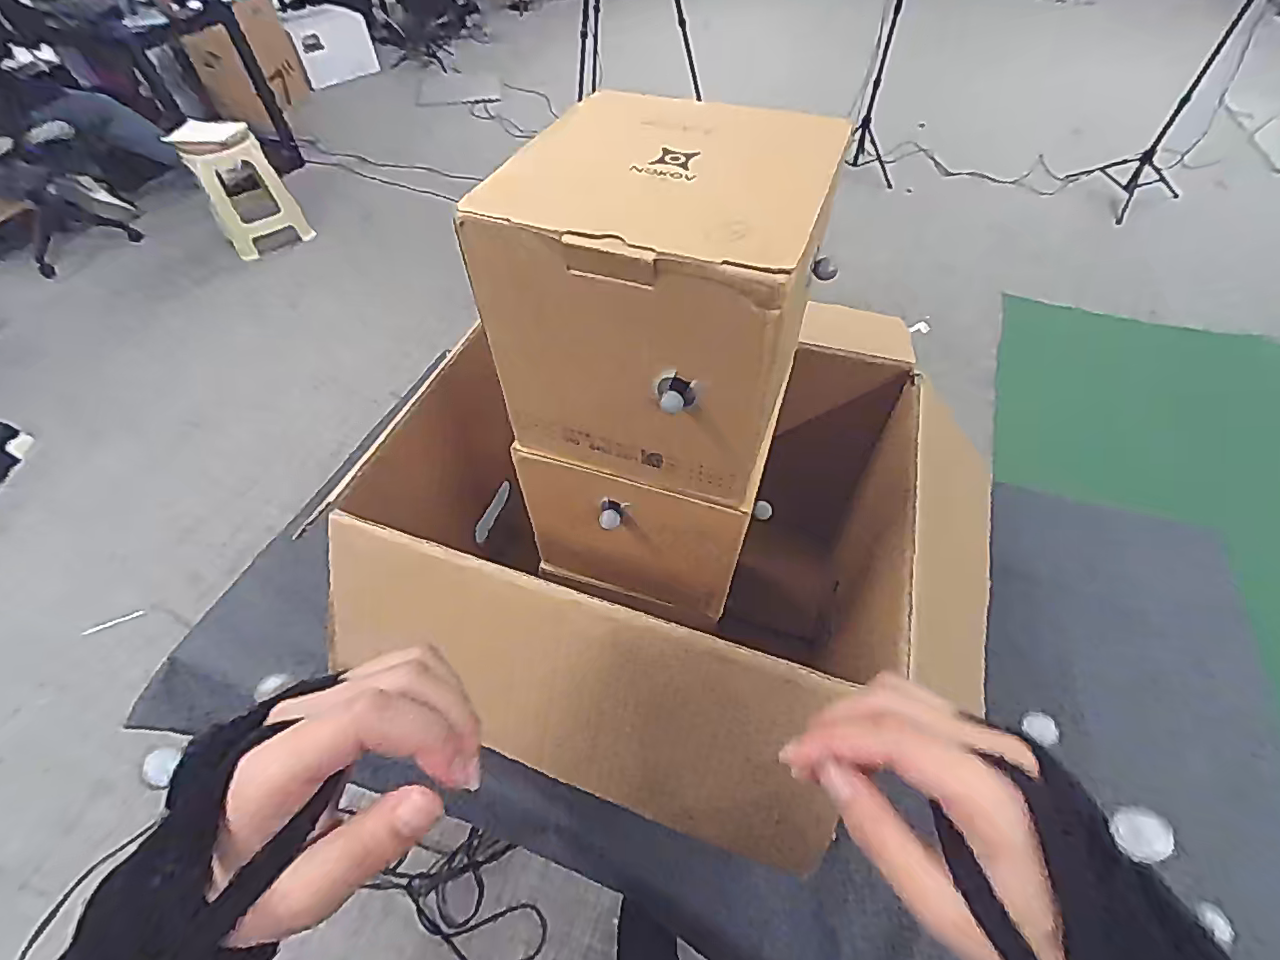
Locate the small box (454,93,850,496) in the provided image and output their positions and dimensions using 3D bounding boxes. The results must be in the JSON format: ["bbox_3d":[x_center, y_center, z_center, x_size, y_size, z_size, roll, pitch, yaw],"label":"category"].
[{"bbox_3d":[0.017,-0.116,0.348,0.168,0.176,0.179,17,53,13],"label":"small box"}]

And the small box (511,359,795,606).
[{"bbox_3d":[0.018,-0.011,0.471,0.179,0.176,0.168,15,54,13],"label":"small box"}]
